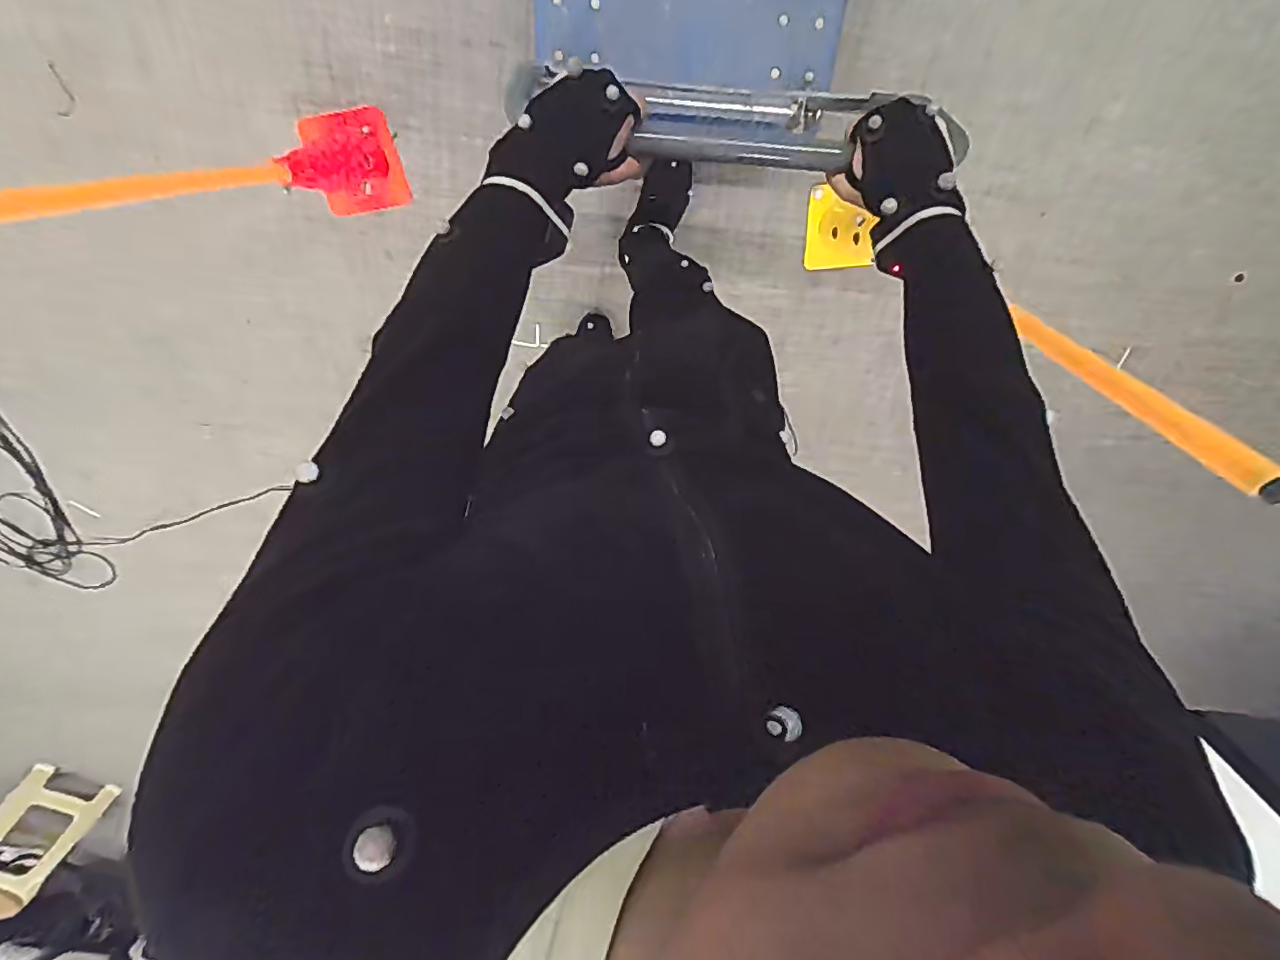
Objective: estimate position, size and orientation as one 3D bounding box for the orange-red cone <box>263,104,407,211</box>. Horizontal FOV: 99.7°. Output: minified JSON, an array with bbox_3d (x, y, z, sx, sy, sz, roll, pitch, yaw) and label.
[{"bbox_3d":[-0.645,-0.636,1.086,0.199,0.360,0.198,-8,123,3],"label":"orange-red cone"}]
